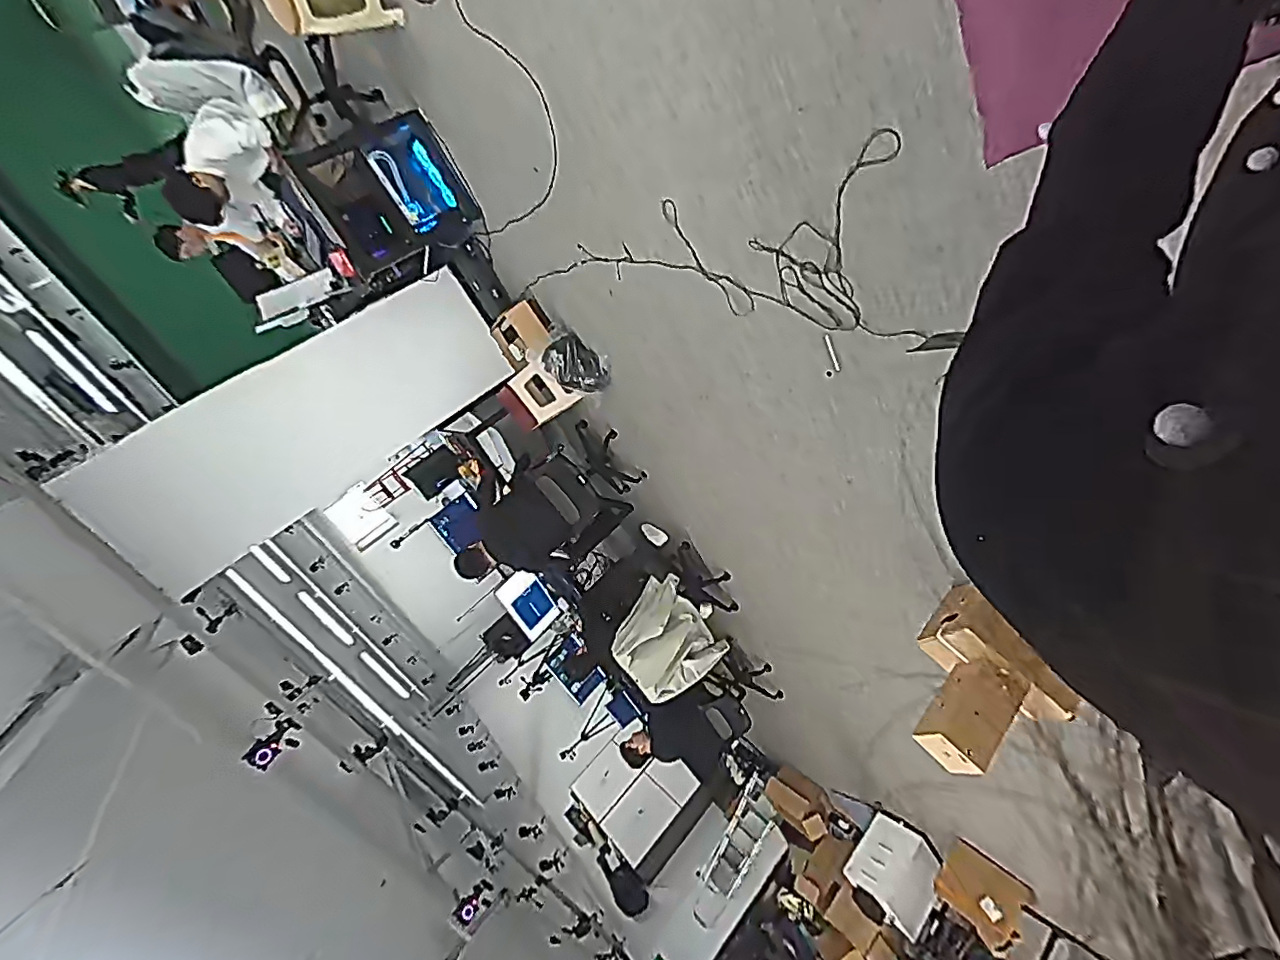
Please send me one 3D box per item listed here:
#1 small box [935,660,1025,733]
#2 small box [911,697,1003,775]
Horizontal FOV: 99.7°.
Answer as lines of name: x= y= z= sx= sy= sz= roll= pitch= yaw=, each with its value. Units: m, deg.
small box: x=1.174 y=0.747 z=1.864 sx=0.168 sy=0.176 sz=0.179 roll=43 pitch=156 yaw=14
small box: x=1.059 y=0.848 z=1.803 sx=0.168 sy=0.176 sz=0.179 roll=43 pitch=157 yaw=14
